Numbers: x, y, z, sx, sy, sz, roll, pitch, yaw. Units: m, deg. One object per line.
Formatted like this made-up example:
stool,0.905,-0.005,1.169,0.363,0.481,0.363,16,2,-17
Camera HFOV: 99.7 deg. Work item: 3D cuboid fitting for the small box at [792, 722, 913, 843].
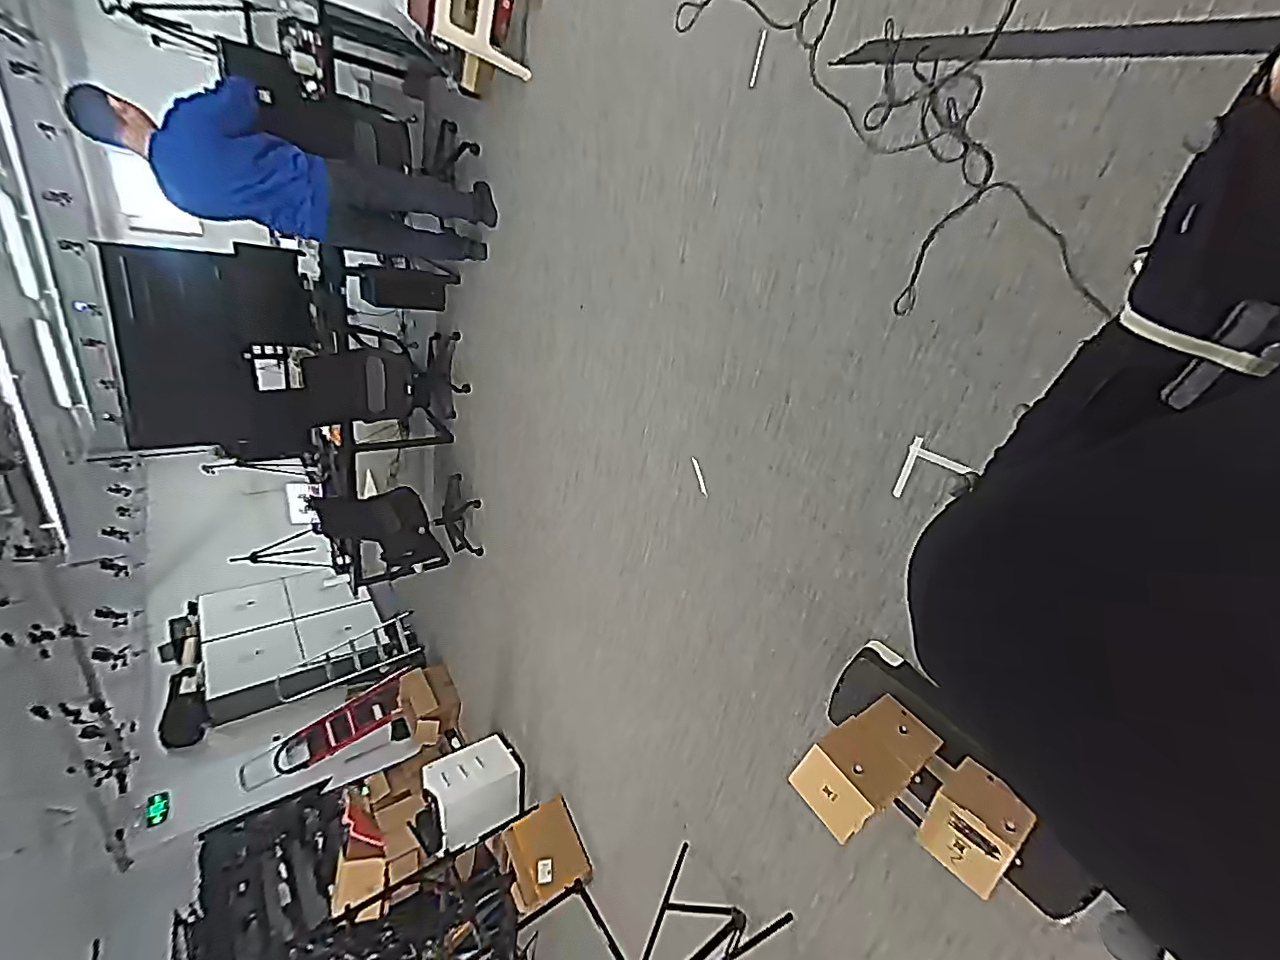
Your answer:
small box,0.512,0.717,1.307,0.179,0.176,0.168,44,130,36

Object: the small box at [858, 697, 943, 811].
small box,0.646,0.698,1.398,0.168,0.176,0.179,42,130,39
